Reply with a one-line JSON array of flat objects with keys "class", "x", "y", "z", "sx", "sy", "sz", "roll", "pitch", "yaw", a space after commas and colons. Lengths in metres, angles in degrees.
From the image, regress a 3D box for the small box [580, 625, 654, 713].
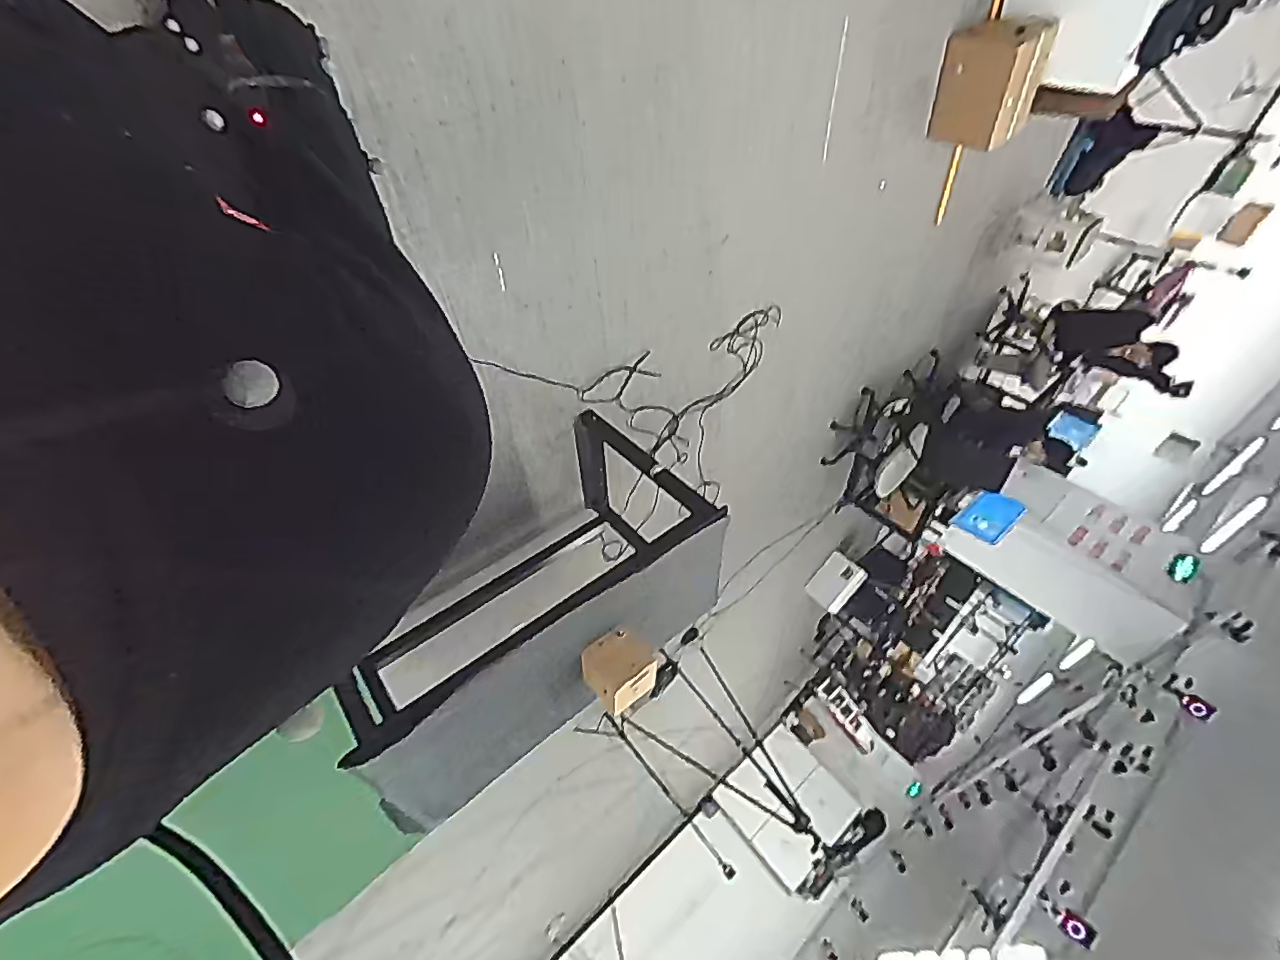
[{"class": "small box", "x": -0.074, "y": 0.580, "z": 1.689, "sx": 0.168, "sy": 0.176, "sz": 0.179, "roll": -28, "pitch": 142, "yaw": -28}]
